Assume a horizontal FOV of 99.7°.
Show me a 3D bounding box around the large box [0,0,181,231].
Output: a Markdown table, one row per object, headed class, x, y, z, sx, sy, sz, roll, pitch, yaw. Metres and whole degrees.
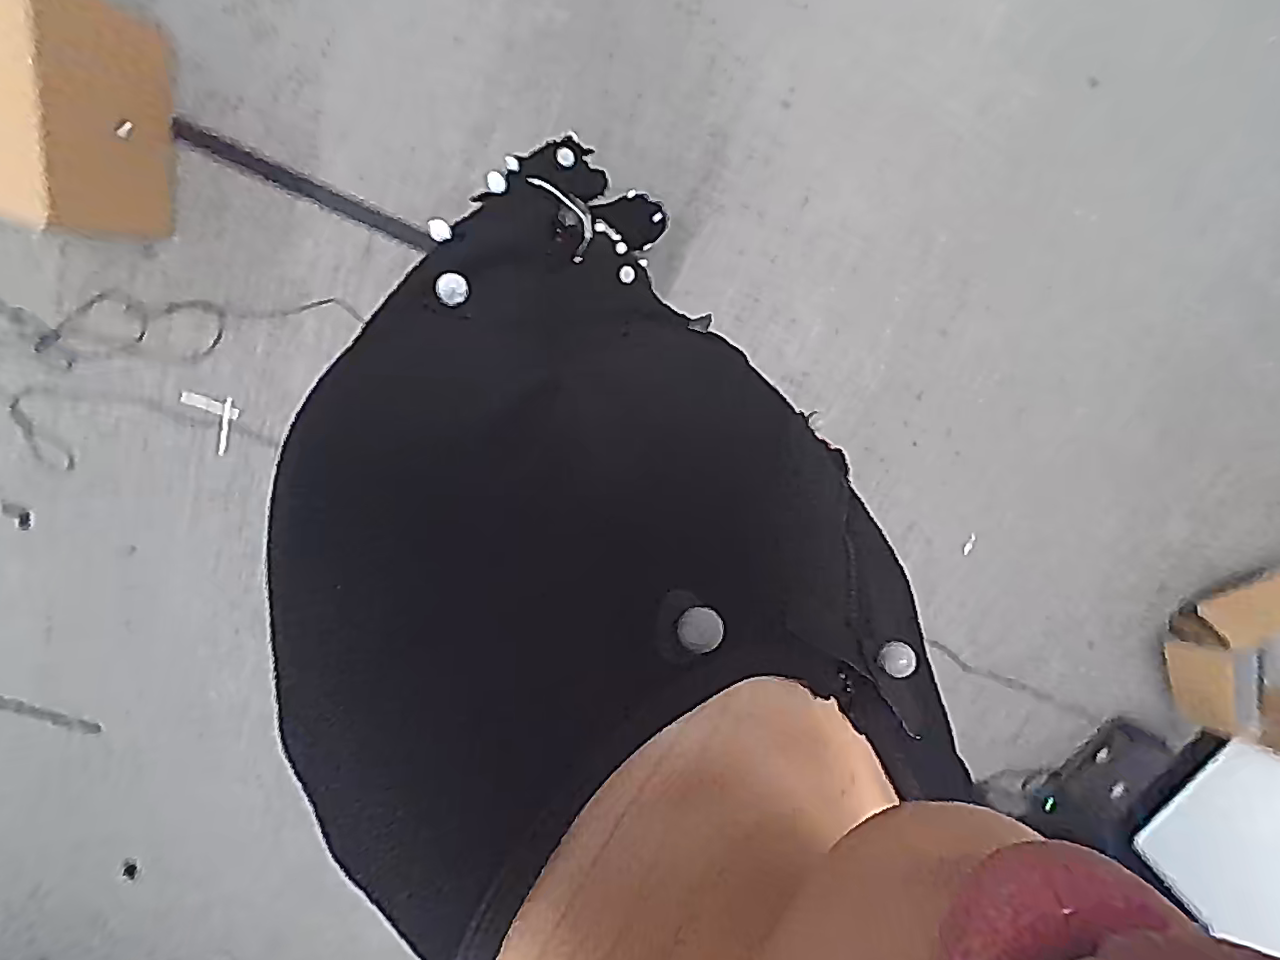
| class | x | y | z | sx | sy | sz | roll | pitch | yaw |
| --- | --- | --- | --- | --- | --- | --- | --- | --- | --- |
| large box | -1.150 | -0.736 | 1.031 | 0.320 | 0.320 | 0.408 | 15 | 111 | -9 |
